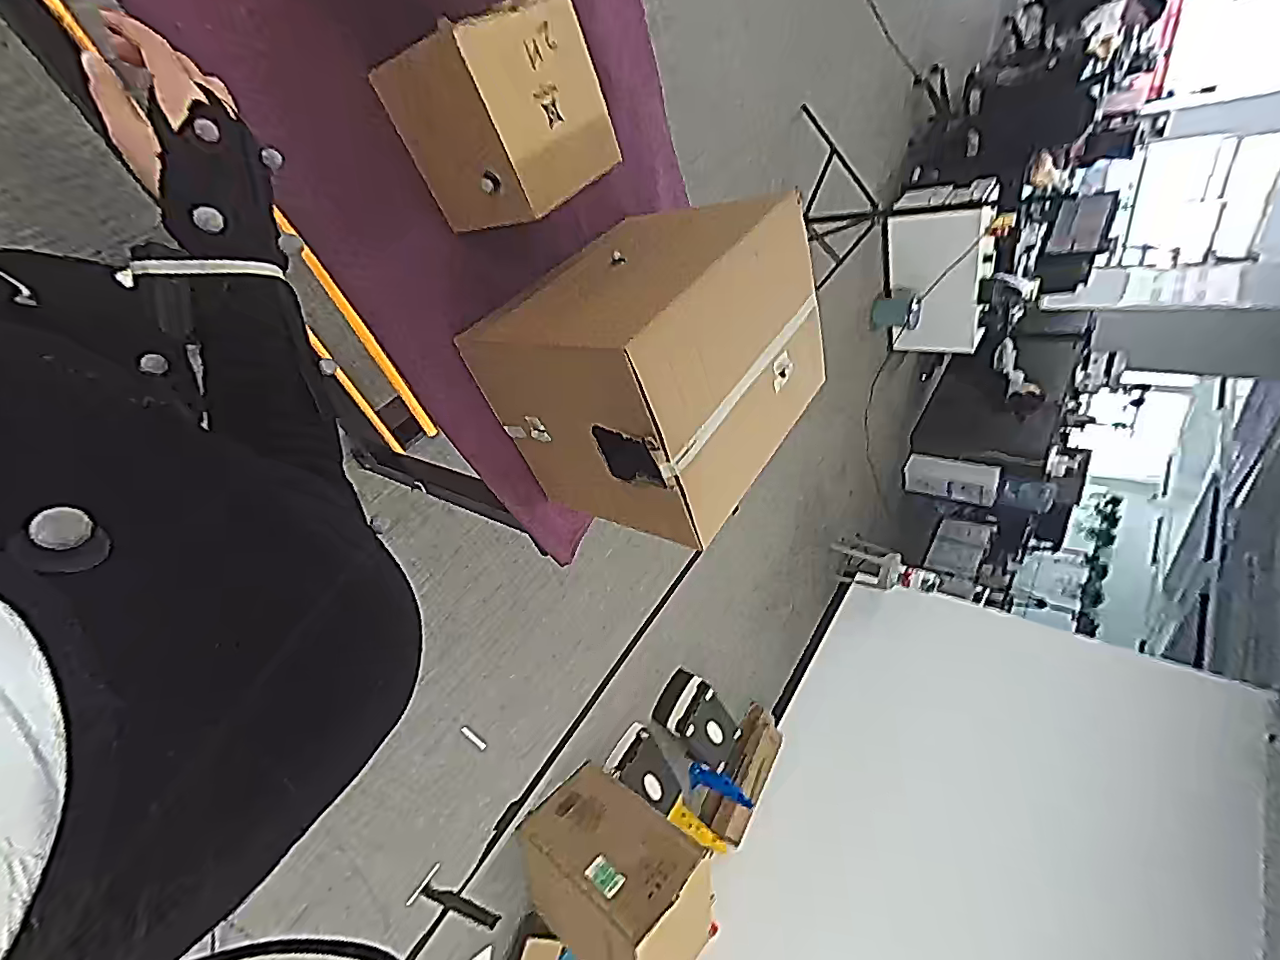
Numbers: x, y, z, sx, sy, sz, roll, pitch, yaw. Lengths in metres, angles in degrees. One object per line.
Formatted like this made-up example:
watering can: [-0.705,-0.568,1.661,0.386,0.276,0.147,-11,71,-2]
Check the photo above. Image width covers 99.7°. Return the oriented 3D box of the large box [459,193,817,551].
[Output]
large box: [0.025,-0.169,0.808,0.408,0.320,0.320,-50,136,-30]
